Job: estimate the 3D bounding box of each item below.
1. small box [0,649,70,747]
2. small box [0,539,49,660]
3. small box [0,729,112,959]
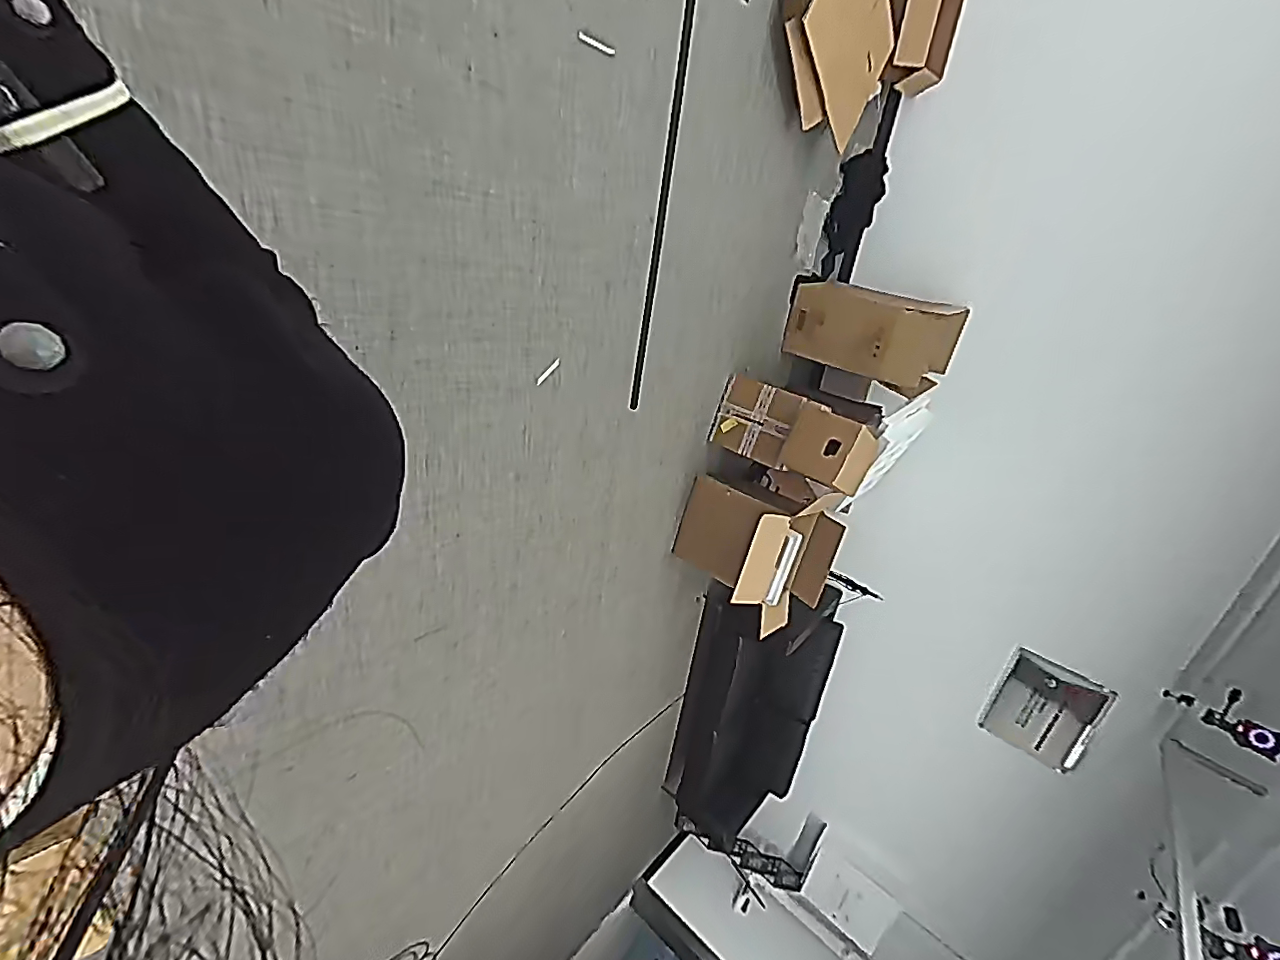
[{"bbox_3d":[-0.770,0.326,0.605,0.179,0.176,0.168,-15,123,-48],"label":"small box"},{"bbox_3d":[-1.018,0.205,0.785,0.179,0.176,0.168,-19,125,-45],"label":"small box"},{"bbox_3d":[-0.649,0.385,0.515,0.179,0.176,0.168,-15,122,-49],"label":"small box"}]
